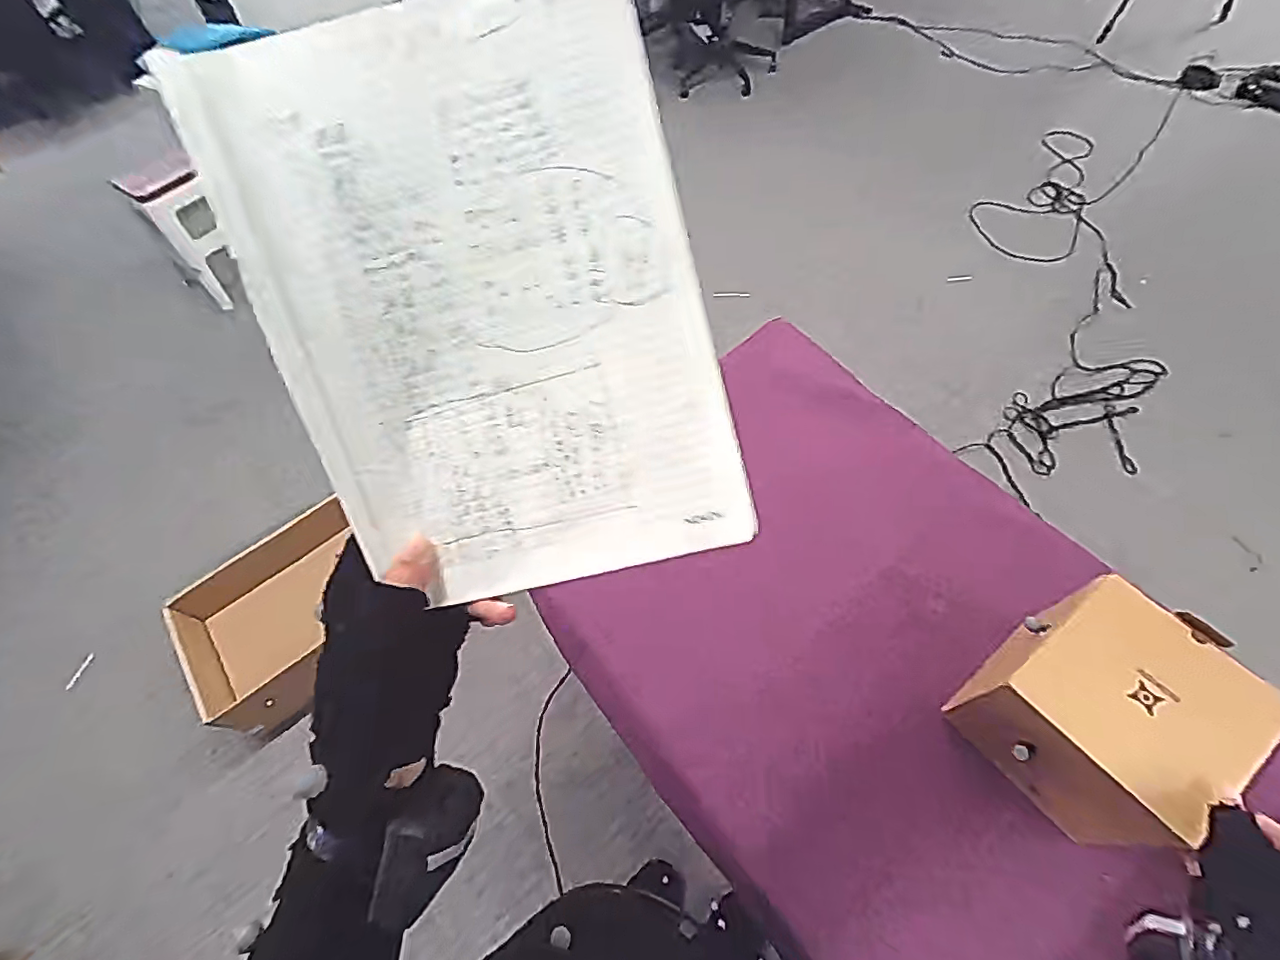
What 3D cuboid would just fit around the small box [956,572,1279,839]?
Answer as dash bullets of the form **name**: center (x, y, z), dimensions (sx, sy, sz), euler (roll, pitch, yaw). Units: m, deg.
- **small box**: center (0.464, 0.234, 0.556), dimensions (0.179, 0.176, 0.168), euler (-34, 60, -17)
